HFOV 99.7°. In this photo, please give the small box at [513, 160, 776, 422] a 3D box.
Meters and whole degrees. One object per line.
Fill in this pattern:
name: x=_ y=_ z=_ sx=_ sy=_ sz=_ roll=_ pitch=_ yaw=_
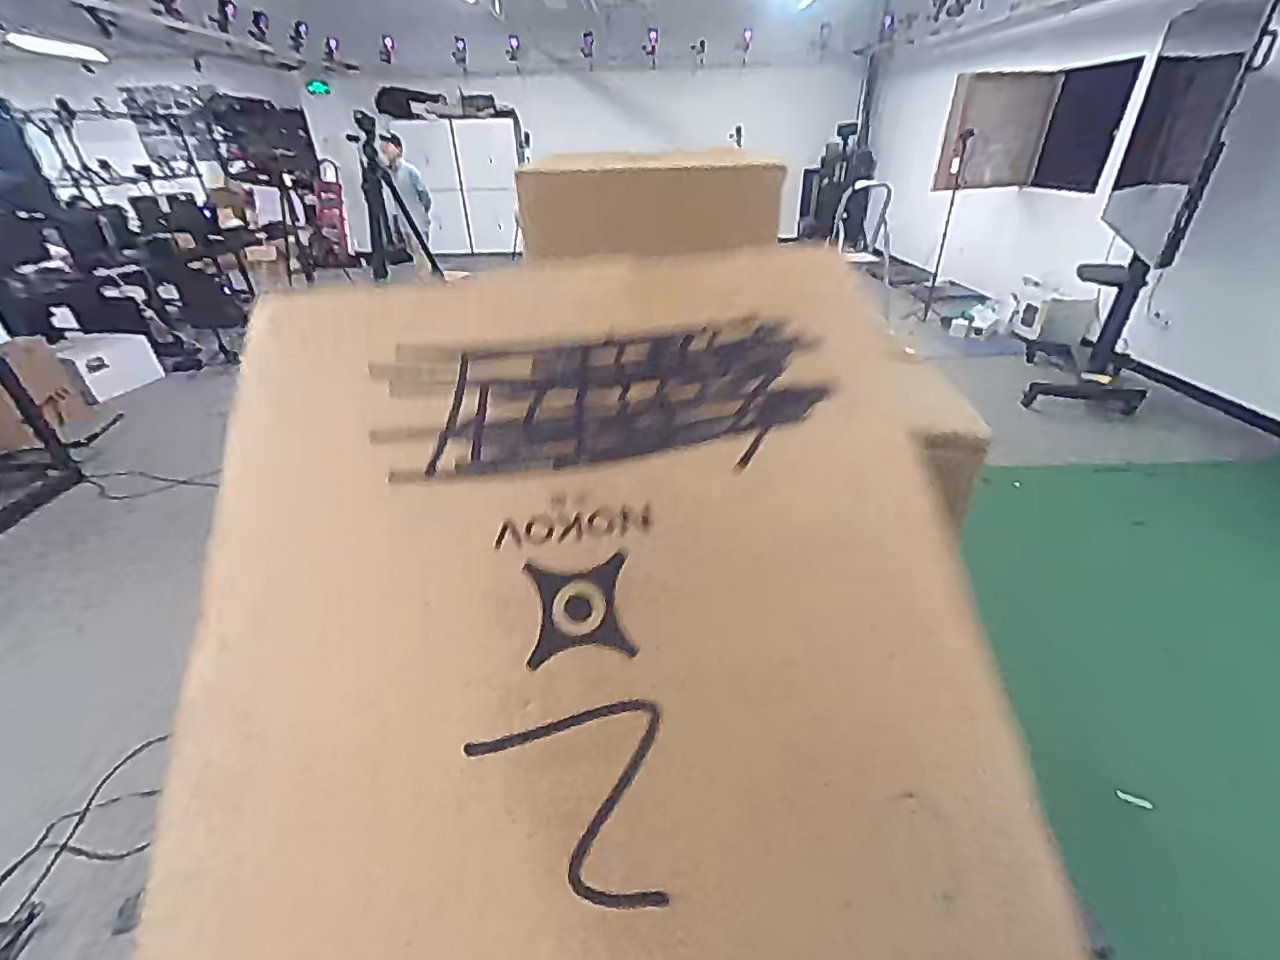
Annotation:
small box: x=0.004 y=-0.154 z=0.440 sx=0.168 sy=0.176 sz=0.179 roll=-3 pitch=33 yaw=-1
